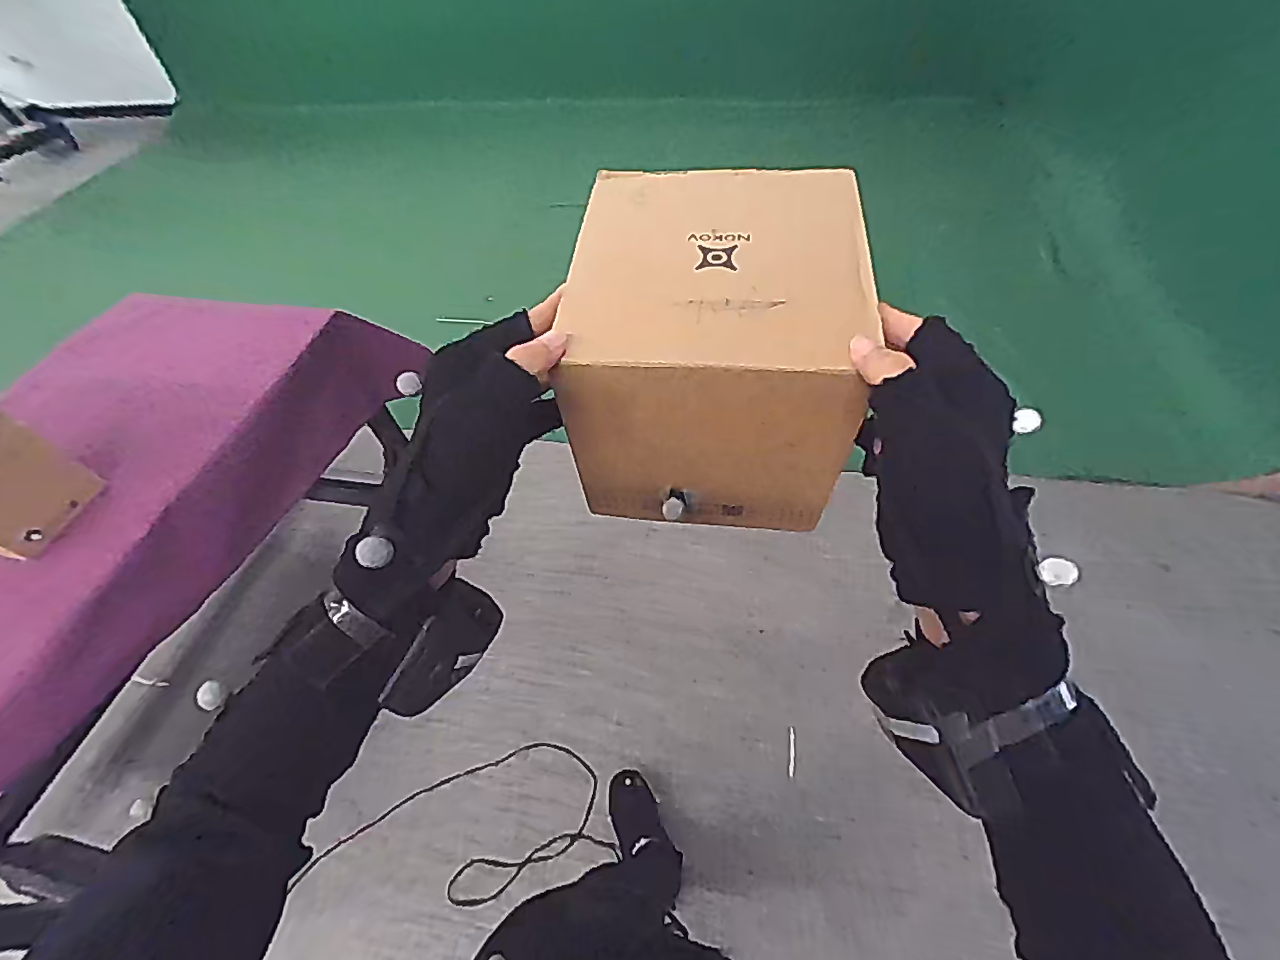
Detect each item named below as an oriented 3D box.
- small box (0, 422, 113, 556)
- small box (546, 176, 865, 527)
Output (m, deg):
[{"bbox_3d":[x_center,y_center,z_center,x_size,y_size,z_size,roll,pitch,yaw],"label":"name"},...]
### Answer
[{"bbox_3d":[-1.067,0.010,0.904,0.179,0.176,0.168,8,54,12],"label":"small box"},{"bbox_3d":[0.045,-0.086,0.384,0.168,0.176,0.179,3,58,7],"label":"small box"}]
